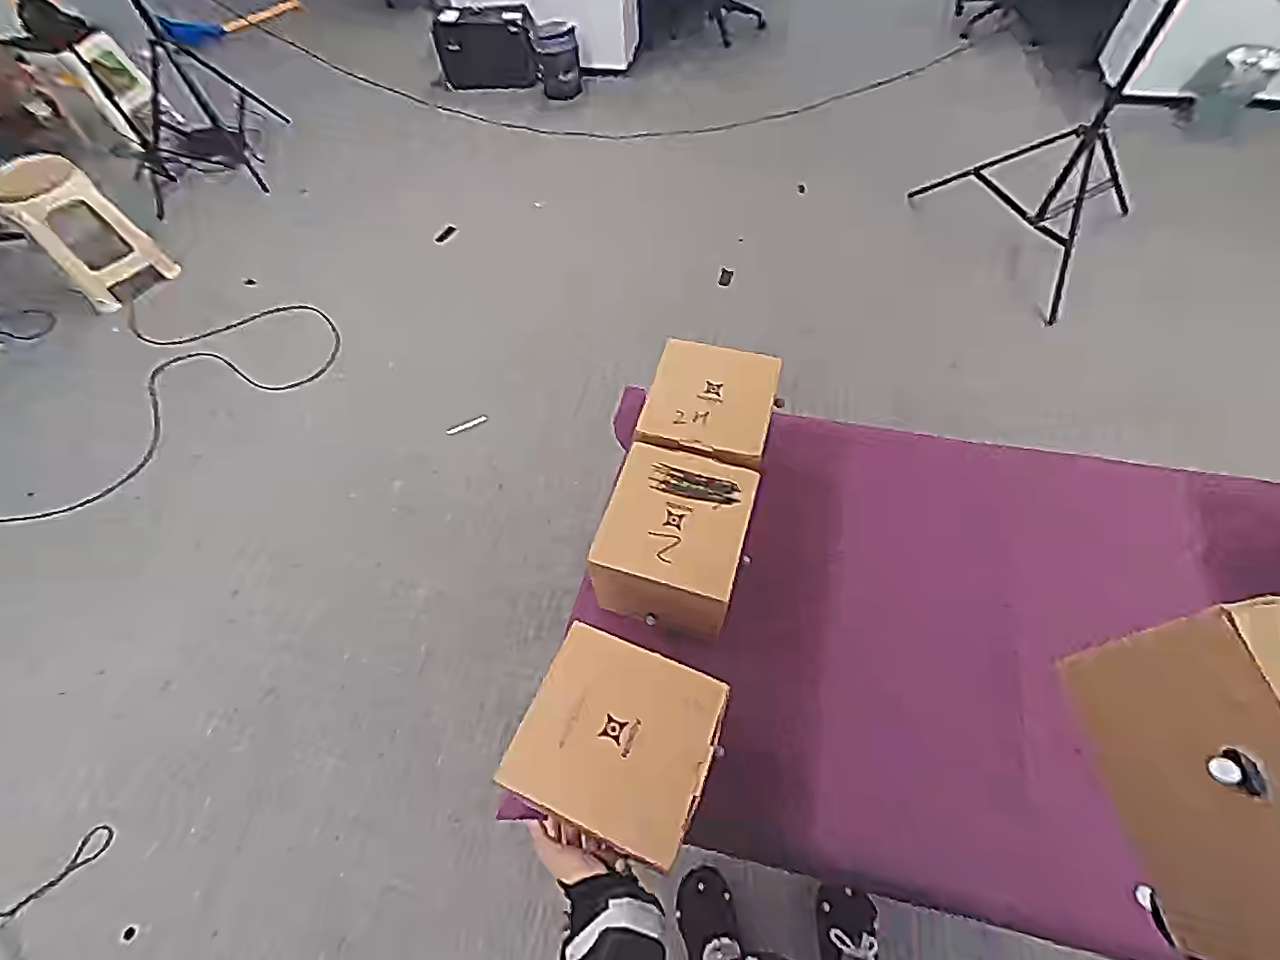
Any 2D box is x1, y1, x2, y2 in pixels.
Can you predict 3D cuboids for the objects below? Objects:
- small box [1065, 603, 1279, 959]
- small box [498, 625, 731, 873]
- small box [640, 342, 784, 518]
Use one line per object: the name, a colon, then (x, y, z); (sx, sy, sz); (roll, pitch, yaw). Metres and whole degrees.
small box: (0.395, 0.171, 0.304); (0.168, 0.176, 0.179); (-8, 61, 5)
small box: (-0.019, 0.288, 0.576); (0.179, 0.176, 0.168); (18, 54, 14)
small box: (0.102, -0.071, 0.798); (0.168, 0.176, 0.179); (13, 60, 11)
